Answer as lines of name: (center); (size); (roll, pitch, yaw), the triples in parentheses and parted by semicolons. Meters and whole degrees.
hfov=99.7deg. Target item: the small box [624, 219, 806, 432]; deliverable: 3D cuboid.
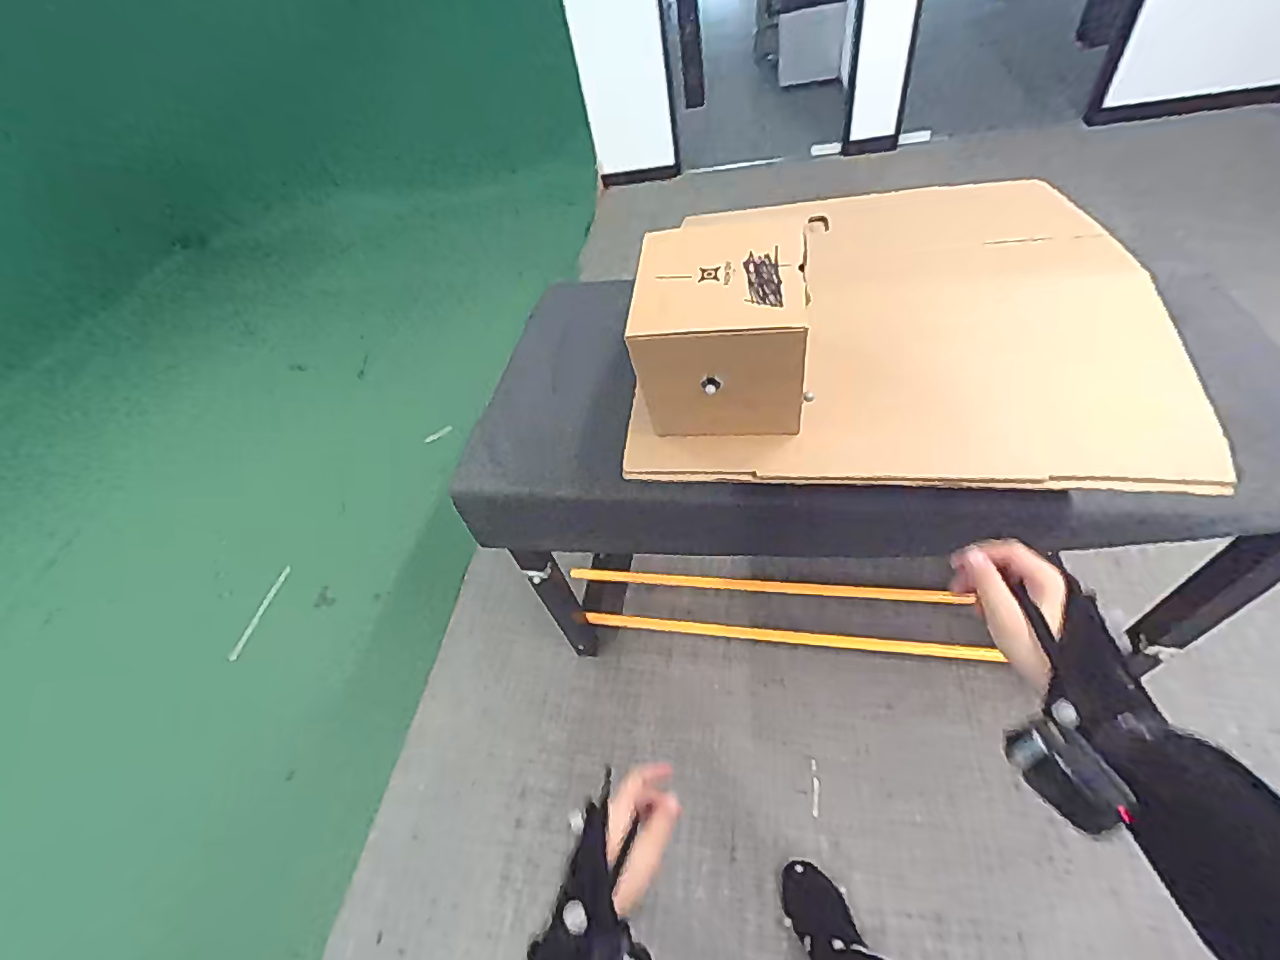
small box: (0.095, -0.167, 0.622); (0.179, 0.176, 0.168); (0, 59, 15)
